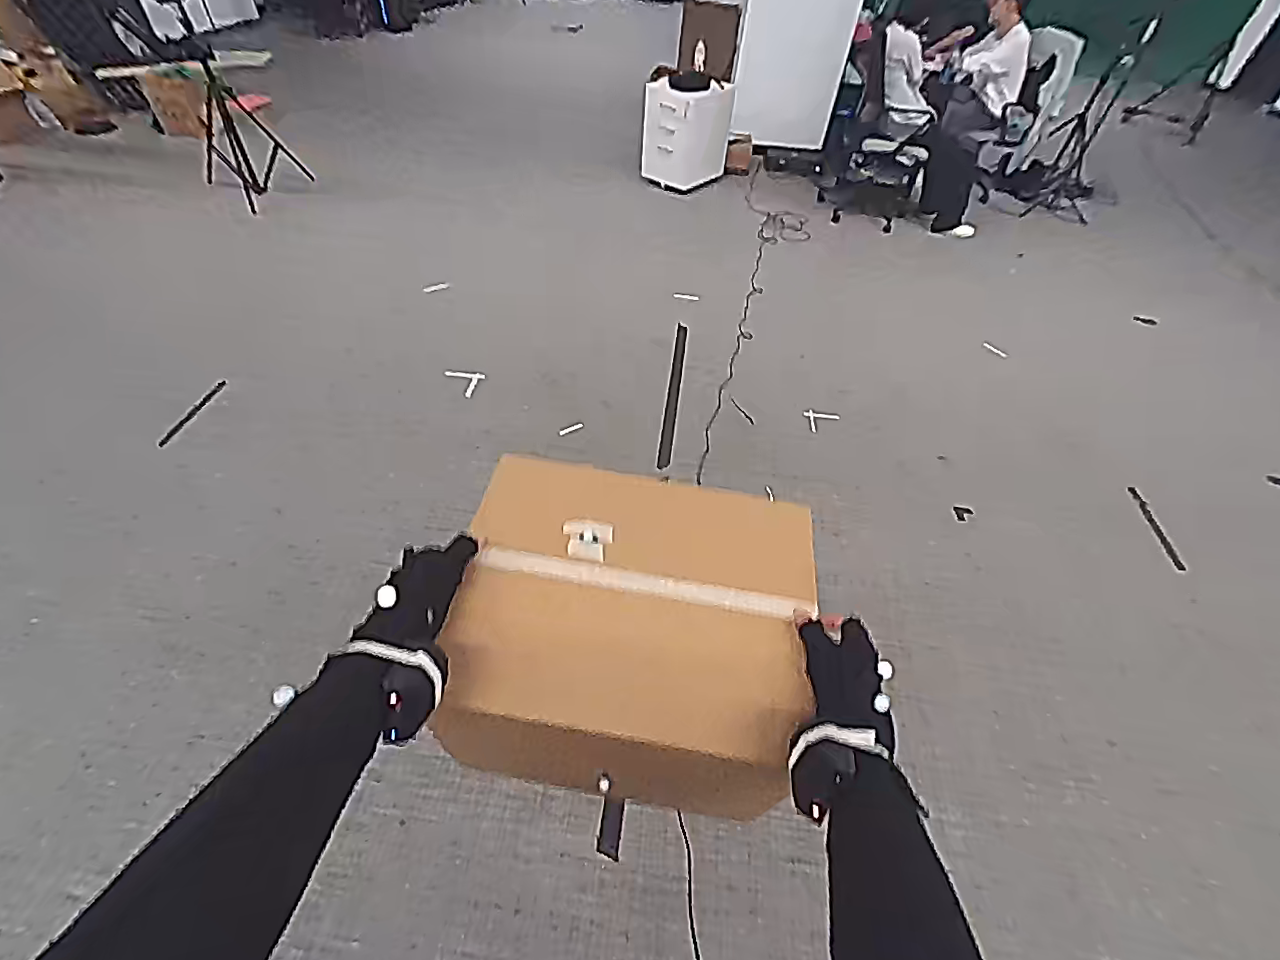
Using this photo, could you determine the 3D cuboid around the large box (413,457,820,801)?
[{"bbox_3d":[-0.014,0.207,0.724,0.408,0.320,0.320,9,50,2],"label":"large box"}]
